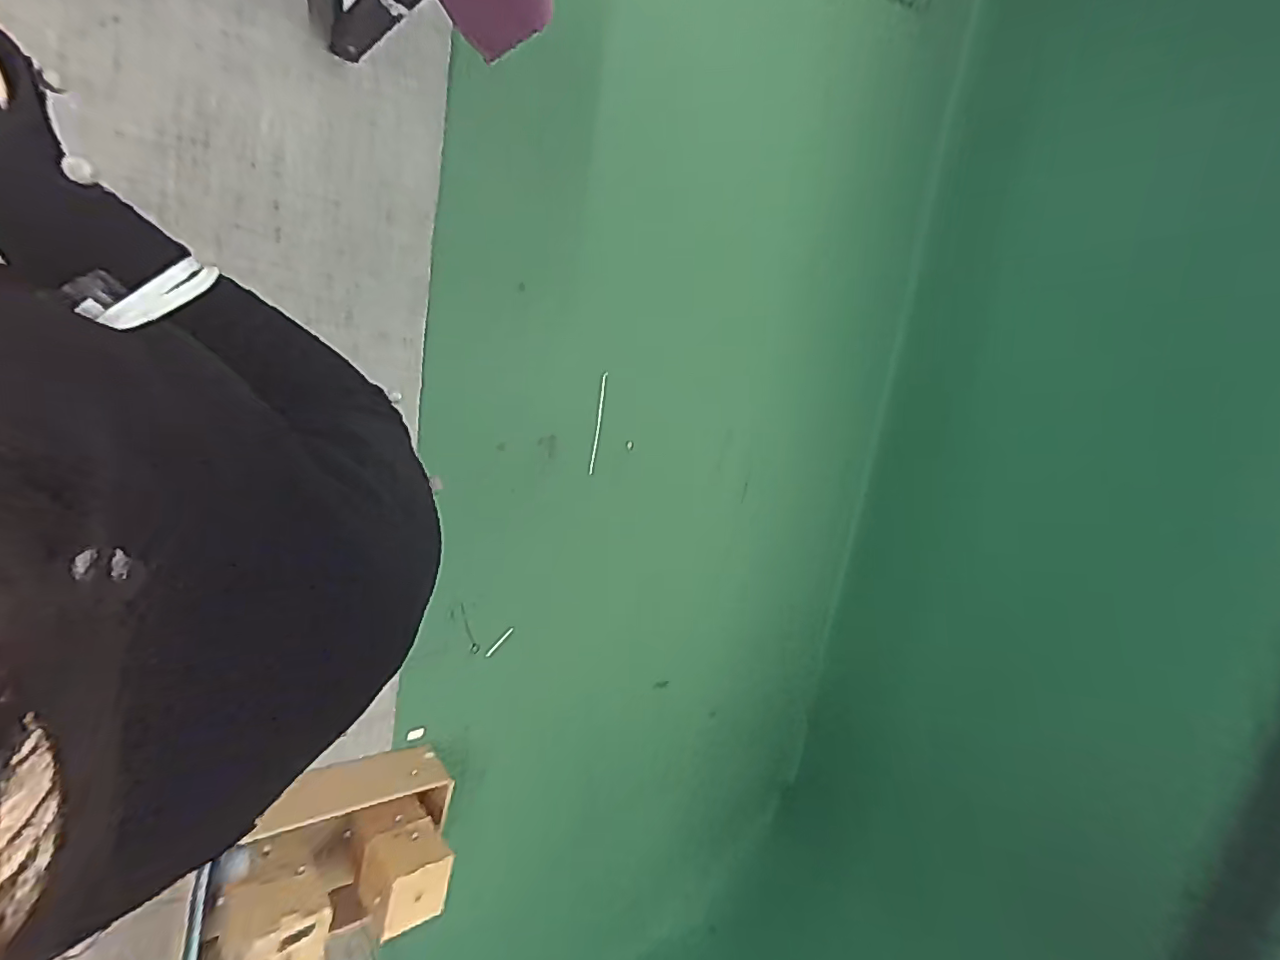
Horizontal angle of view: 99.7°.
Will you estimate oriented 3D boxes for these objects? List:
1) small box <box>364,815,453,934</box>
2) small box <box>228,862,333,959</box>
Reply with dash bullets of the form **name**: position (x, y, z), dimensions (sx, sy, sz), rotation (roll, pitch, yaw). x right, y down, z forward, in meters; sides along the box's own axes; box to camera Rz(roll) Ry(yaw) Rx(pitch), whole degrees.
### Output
- **small box**: position (-0.651, 1.089, 1.508), dimensions (0.168, 0.176, 0.179), rotation (8, 96, -46)
- **small box**: position (-0.856, 1.055, 1.282), dimensions (0.168, 0.176, 0.179), rotation (7, 99, -47)
